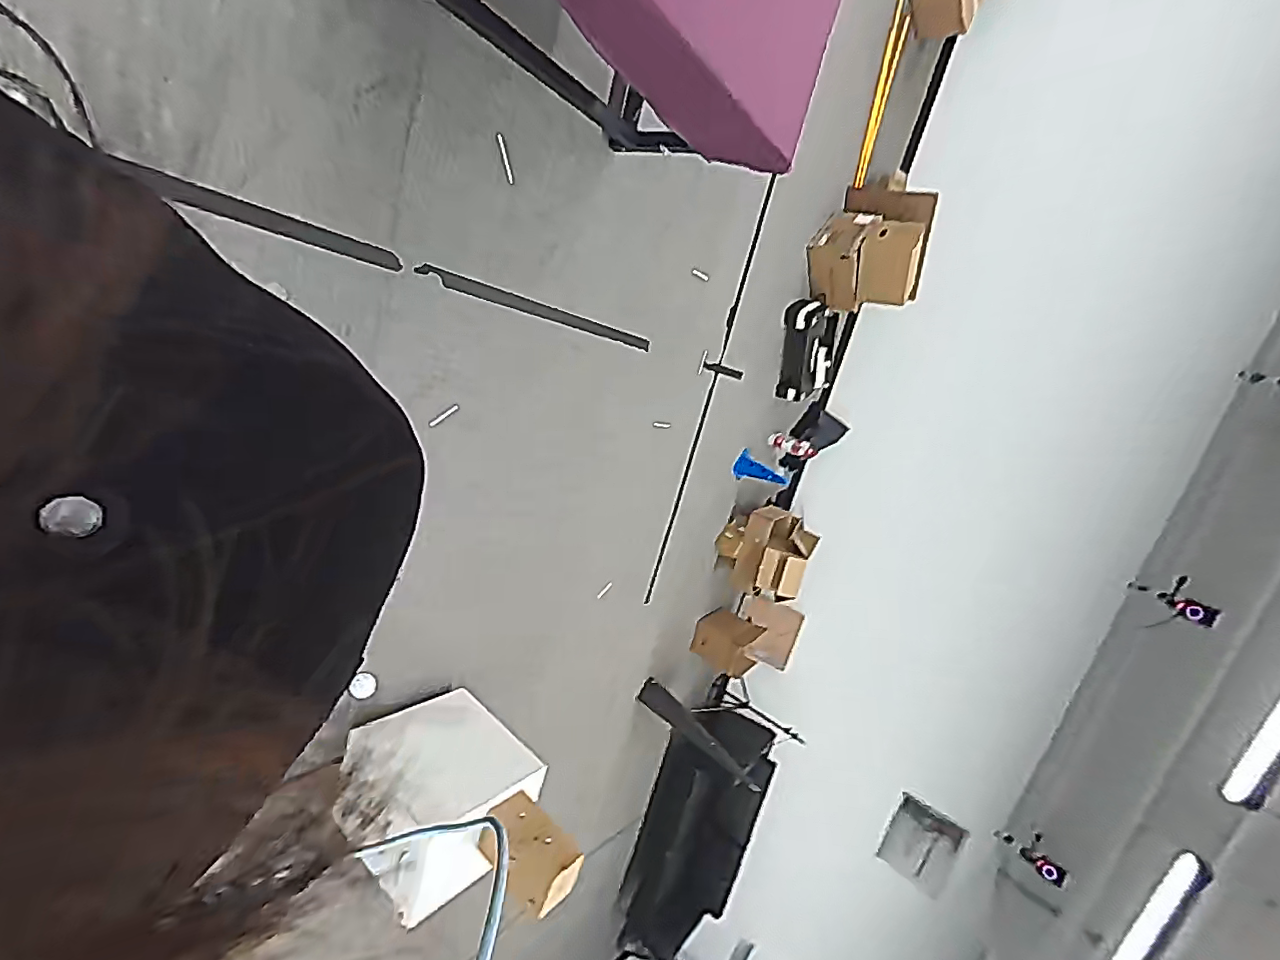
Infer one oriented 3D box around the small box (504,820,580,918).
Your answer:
[{"bbox_3d":[-0.342,1.331,1.863,0.168,0.176,0.179,2,109,-57],"label":"small box"}]
